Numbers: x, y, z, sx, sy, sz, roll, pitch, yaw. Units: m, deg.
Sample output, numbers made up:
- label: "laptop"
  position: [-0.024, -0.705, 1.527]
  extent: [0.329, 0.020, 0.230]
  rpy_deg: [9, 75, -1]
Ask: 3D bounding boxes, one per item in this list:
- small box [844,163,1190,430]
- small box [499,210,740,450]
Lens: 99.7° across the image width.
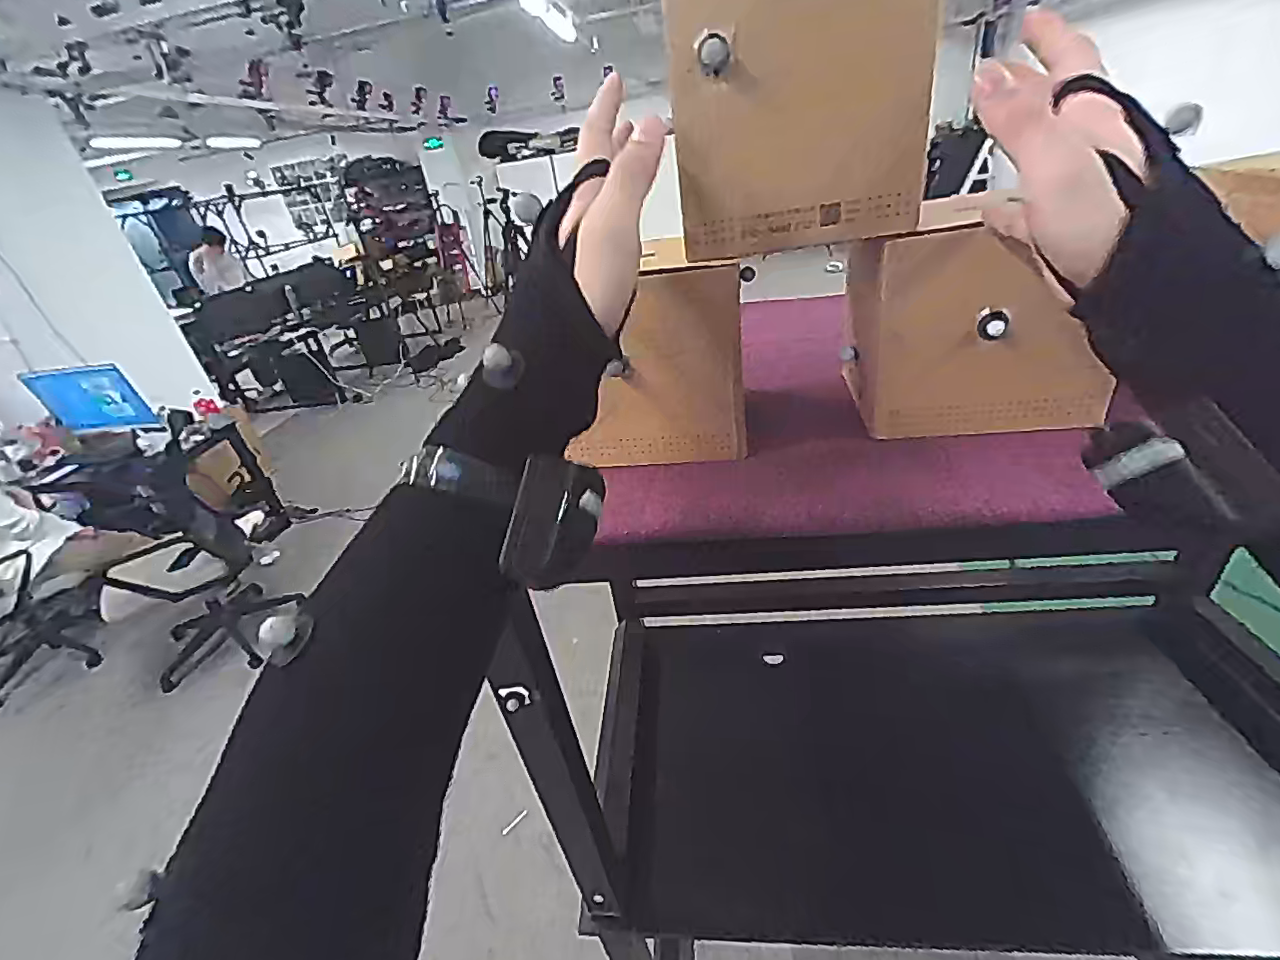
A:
- label: "small box"
  position: [0.276, -0.152, 0.453]
  extent: [0.179, 0.176, 0.168]
  rpy_deg: [-2, 32, 13]
- label: "small box"
  position: [0.000, -0.136, 0.494]
  extent: [0.179, 0.176, 0.168]
  rpy_deg: [-1, 33, 11]
